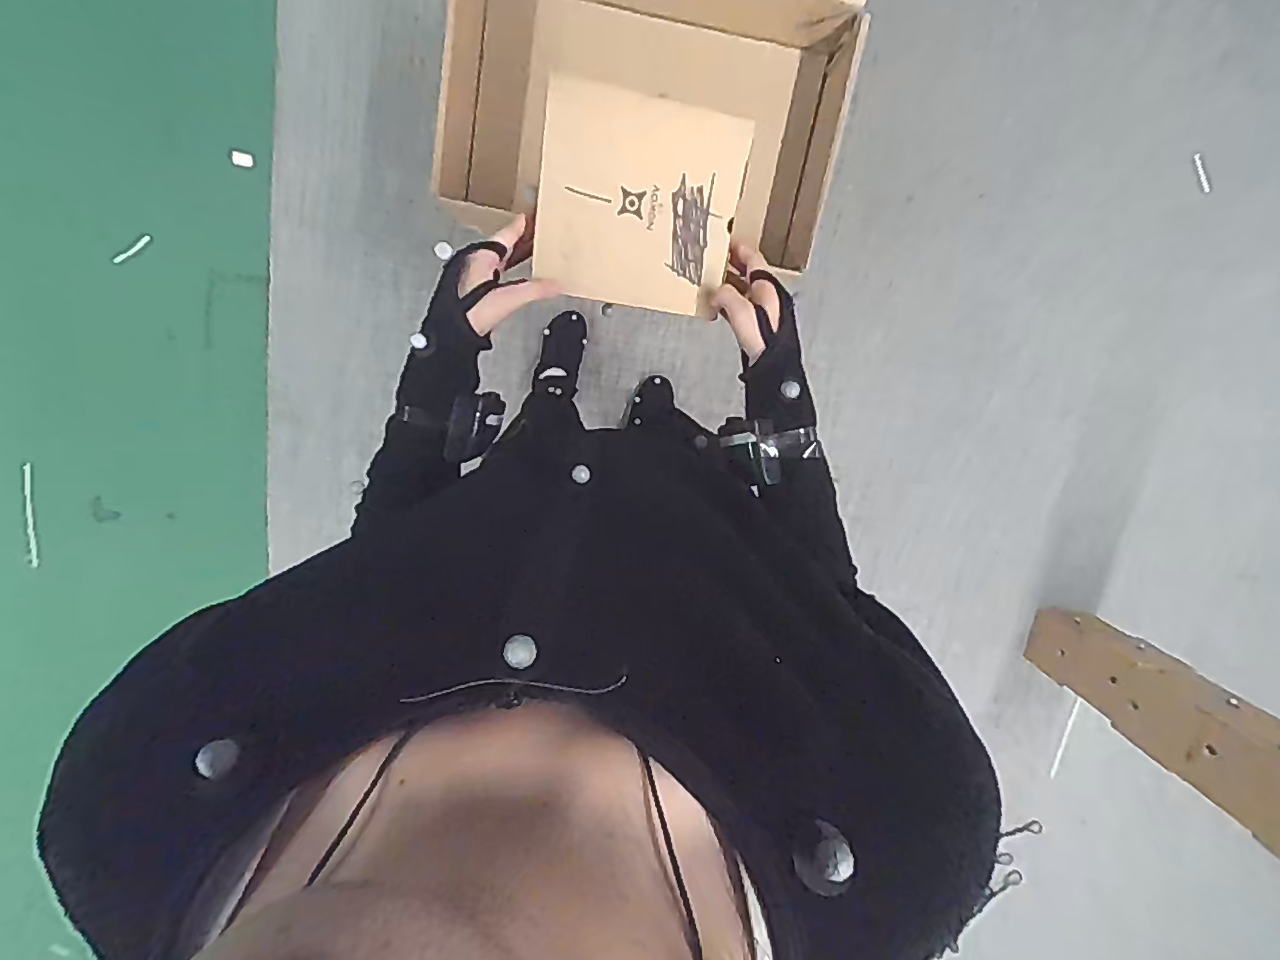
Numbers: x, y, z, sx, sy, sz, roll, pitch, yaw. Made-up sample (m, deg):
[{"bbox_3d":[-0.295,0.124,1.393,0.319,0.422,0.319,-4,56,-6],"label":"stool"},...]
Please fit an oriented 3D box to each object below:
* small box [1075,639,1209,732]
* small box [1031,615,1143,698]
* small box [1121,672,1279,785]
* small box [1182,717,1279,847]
[{"bbox_3d":[1.280,0.534,1.395,0.168,0.176,0.179,9,102,-1],"label":"small box"},{"bbox_3d":[1.277,0.509,1.557,0.168,0.176,0.179,8,102,-2],"label":"small box"},{"bbox_3d":[1.265,0.570,1.235,0.168,0.176,0.179,6,102,-1],"label":"small box"},{"bbox_3d":[1.262,0.598,1.075,0.179,0.176,0.168,7,101,0],"label":"small box"}]
